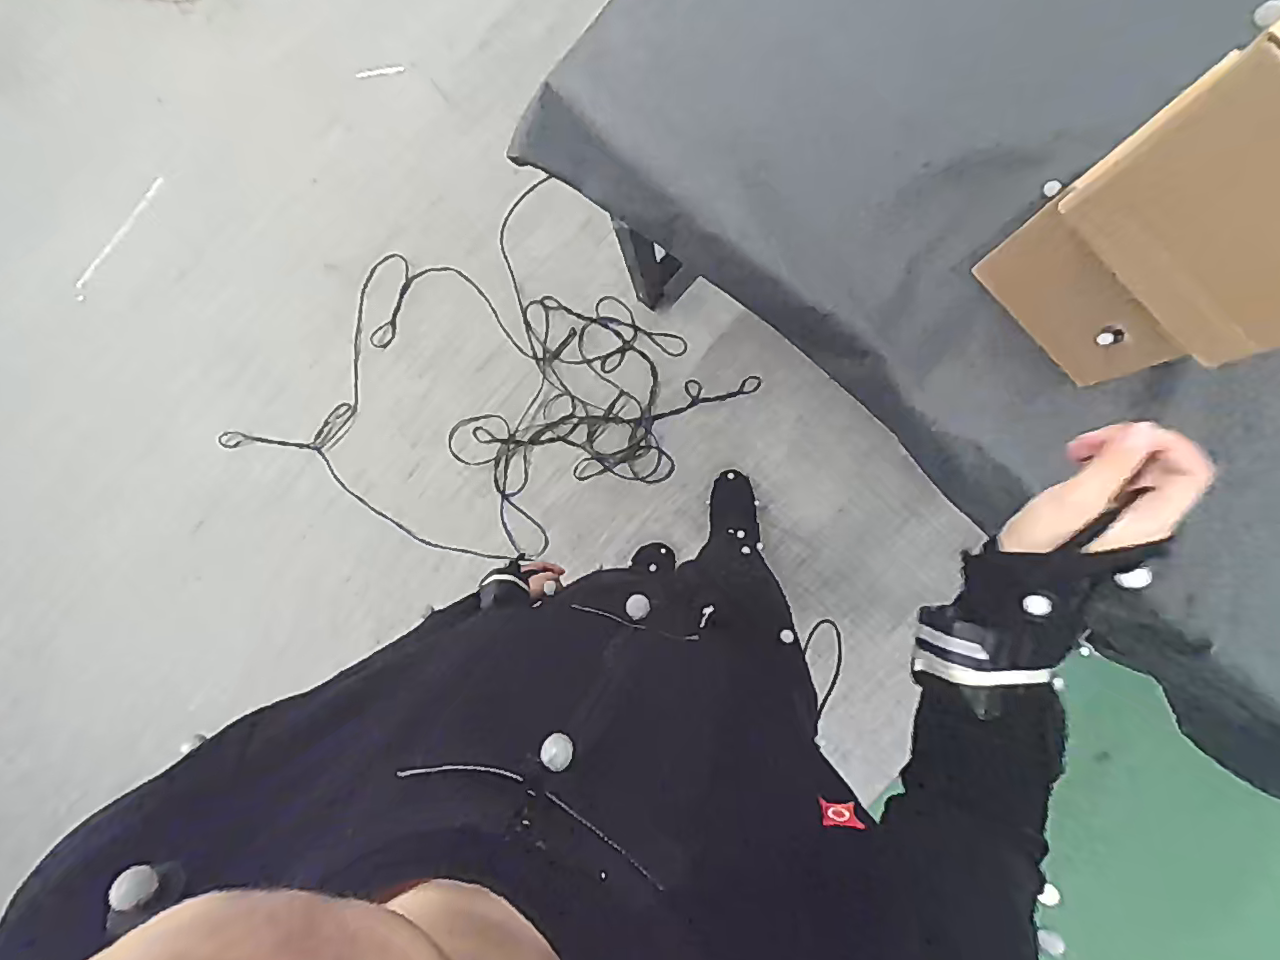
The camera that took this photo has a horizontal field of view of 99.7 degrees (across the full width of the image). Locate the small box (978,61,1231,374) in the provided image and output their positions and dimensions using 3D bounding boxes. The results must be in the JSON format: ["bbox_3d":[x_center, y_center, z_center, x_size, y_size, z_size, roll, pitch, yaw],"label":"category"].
[{"bbox_3d":[0.477,-0.220,0.510,0.168,0.176,0.179,-40,84,2],"label":"small box"}]

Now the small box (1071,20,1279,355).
[{"bbox_3d":[0.447,-0.210,0.350,0.168,0.176,0.179,-39,86,3],"label":"small box"}]

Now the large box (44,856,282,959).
[{"bbox_3d":[-1.198,1.254,1.313,0.408,0.320,0.320,42,92,7],"label":"large box"}]
